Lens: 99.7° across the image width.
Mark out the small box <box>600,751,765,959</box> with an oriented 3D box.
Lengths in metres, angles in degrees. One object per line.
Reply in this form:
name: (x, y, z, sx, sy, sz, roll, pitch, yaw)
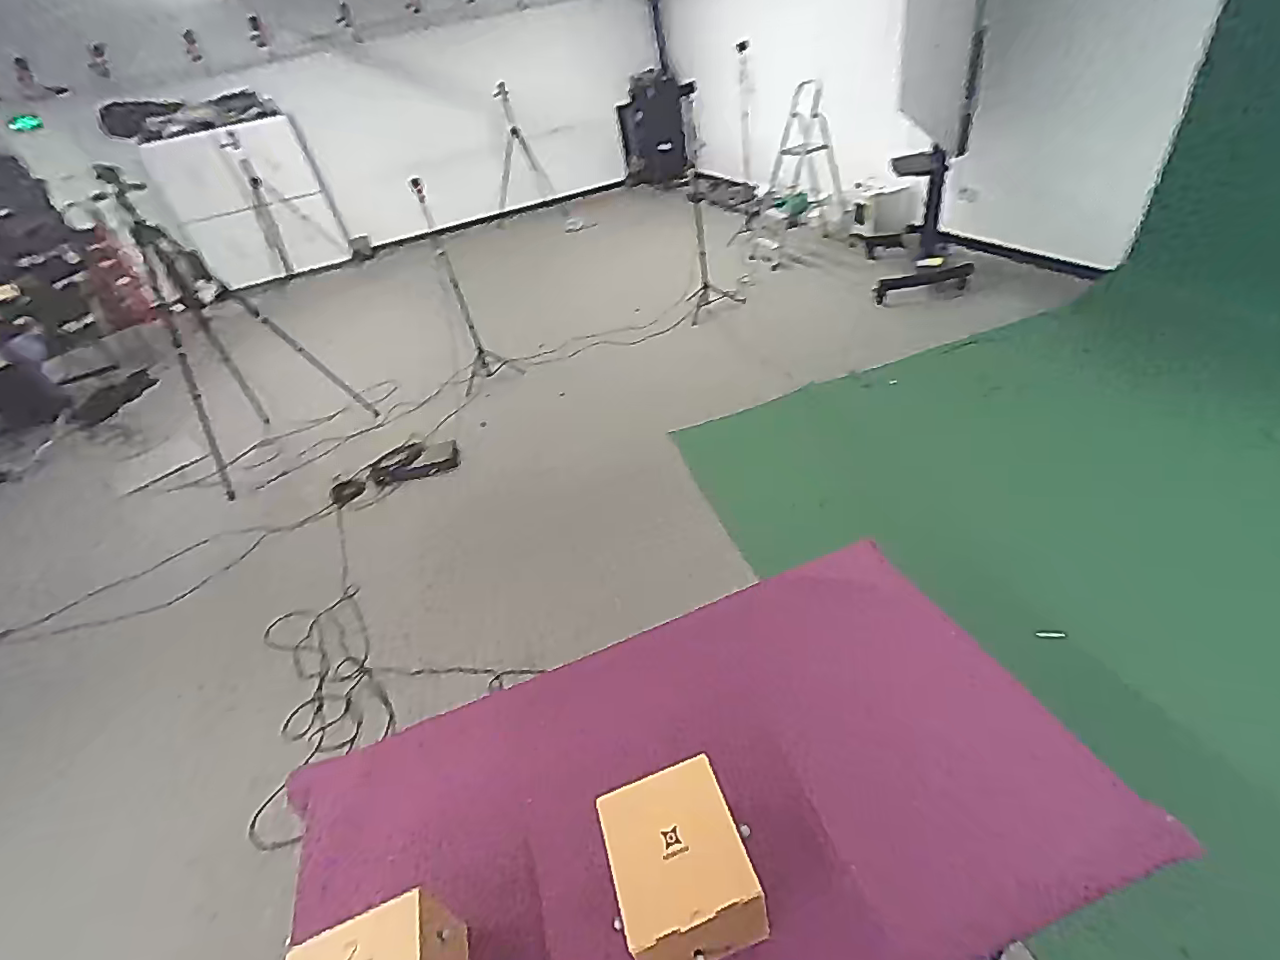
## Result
small box: (0.056, 0.515, 0.733, 0.168, 0.176, 0.179, -19, 38, -8)
